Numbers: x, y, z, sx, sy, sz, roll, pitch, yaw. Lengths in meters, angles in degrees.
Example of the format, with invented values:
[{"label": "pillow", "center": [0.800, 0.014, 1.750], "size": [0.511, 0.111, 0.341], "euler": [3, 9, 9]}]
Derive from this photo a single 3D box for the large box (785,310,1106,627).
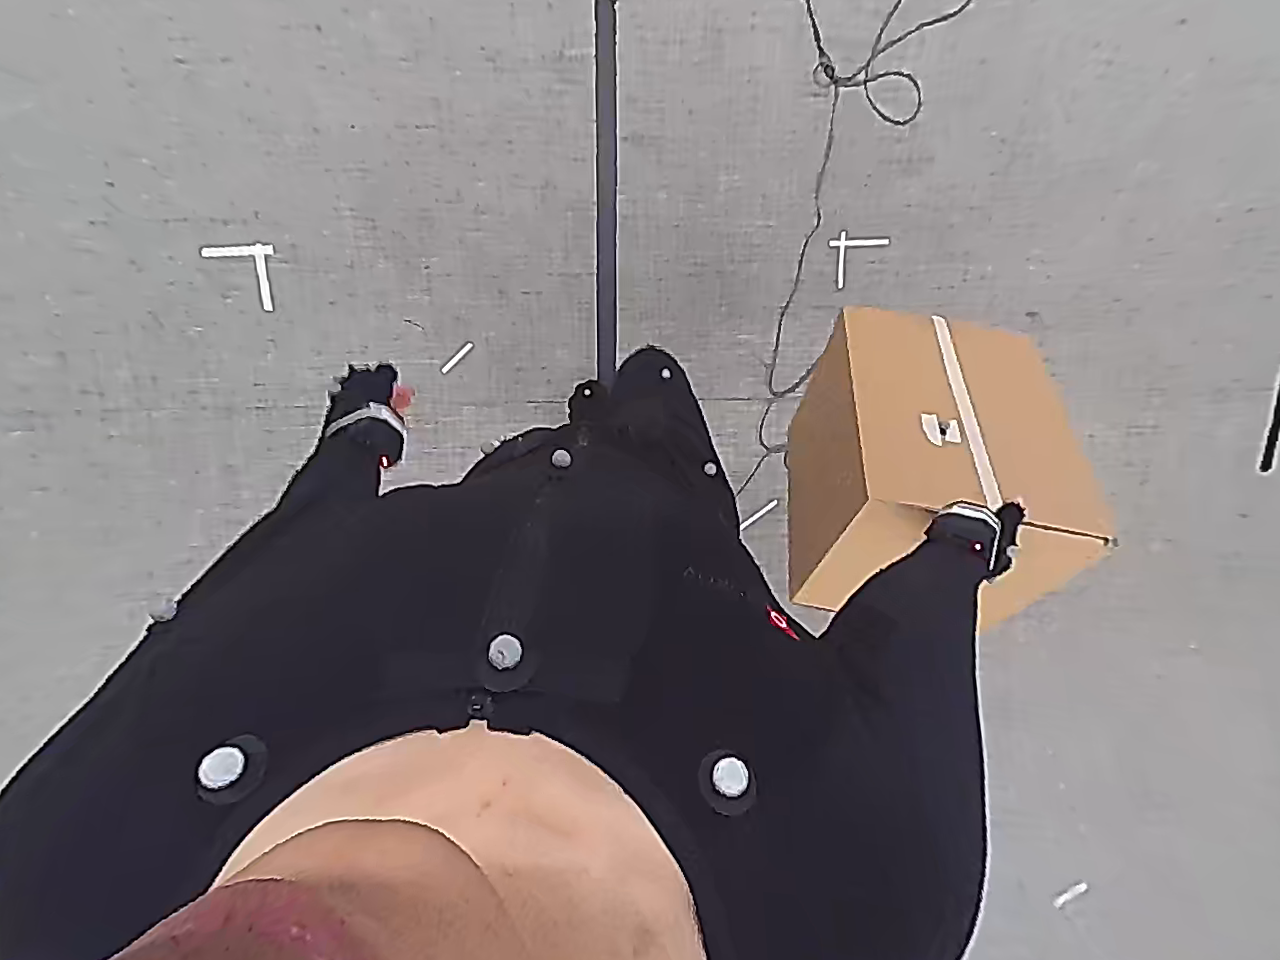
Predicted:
[{"label": "large box", "center": [0.448, -0.017, 0.916], "size": [0.320, 0.408, 0.320], "euler": [10, 144, 0]}]
